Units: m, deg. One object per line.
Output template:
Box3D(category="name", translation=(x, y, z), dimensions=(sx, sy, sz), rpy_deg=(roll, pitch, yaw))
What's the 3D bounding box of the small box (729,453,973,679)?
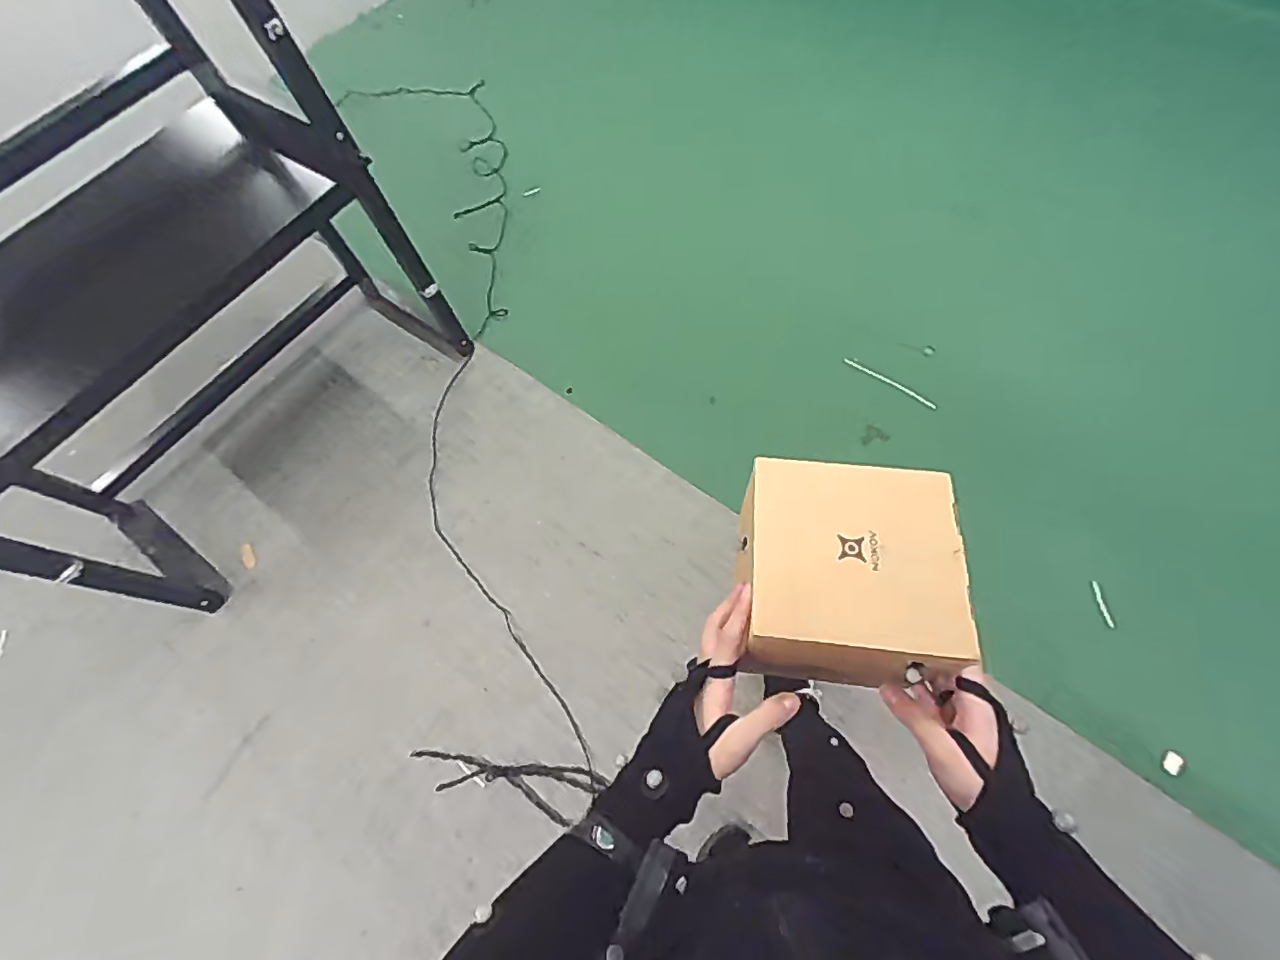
Box3D(category="small box", translation=(0.183, 0.091, 0.527), dimensions=(0.179, 0.176, 0.168), rpy_deg=(5, 63, 5))
